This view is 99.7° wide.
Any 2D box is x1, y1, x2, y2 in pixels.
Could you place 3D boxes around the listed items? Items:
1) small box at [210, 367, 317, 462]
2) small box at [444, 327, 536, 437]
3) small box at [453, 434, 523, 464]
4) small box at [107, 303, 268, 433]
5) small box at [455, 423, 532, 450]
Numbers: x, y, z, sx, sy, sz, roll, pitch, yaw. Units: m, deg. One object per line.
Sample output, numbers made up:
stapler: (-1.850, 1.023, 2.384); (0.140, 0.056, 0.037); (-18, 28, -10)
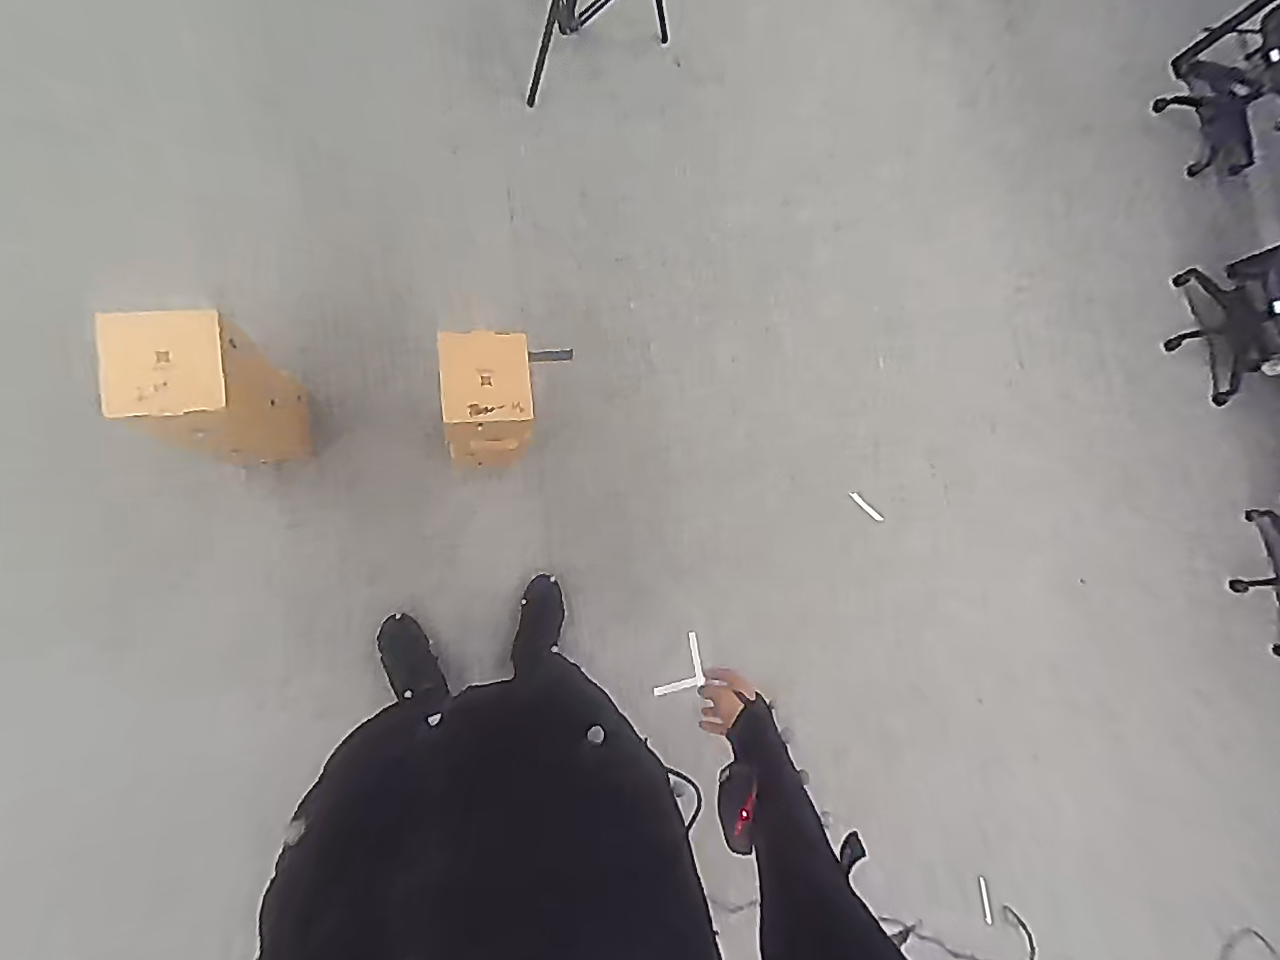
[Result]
small box: (-0.872, -0.150, 1.260); (0.168, 0.176, 0.179); (-7, 84, -18)
small box: (-0.309, -0.192, 1.097); (0.168, 0.176, 0.179); (-3, 82, -18)
small box: (-0.401, -0.143, 1.409); (0.168, 0.176, 0.179); (-3, 83, -18)
small box: (-0.780, -0.191, 0.948); (0.168, 0.176, 0.179); (-7, 85, -17)
small box: (-0.345, -0.168, 1.257); (0.168, 0.176, 0.179); (-3, 83, -19)
